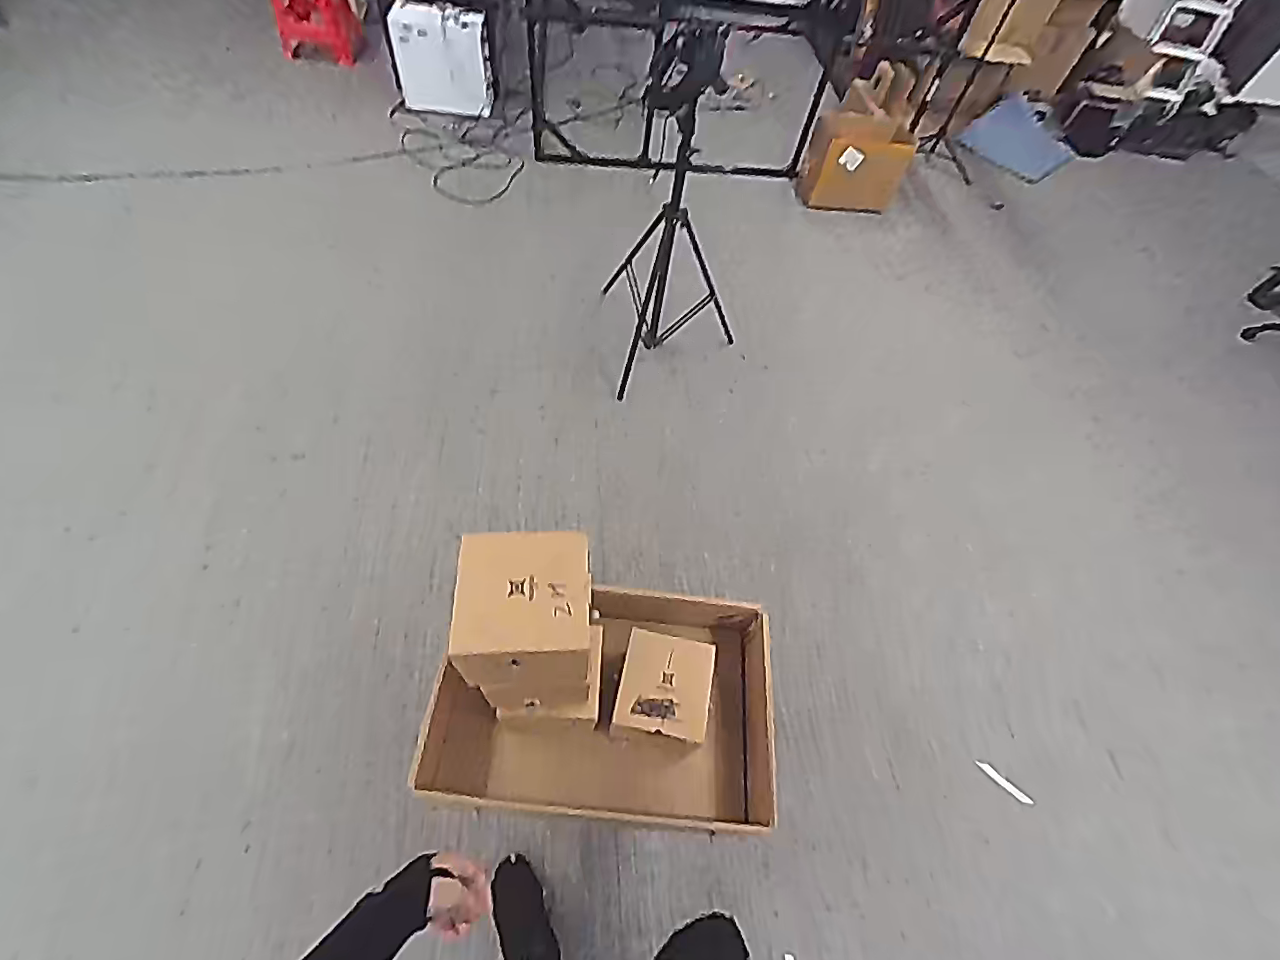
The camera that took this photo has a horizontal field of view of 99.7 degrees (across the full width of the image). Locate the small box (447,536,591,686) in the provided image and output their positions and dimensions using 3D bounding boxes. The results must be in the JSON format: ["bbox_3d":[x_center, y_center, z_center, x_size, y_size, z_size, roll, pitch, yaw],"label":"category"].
[{"bbox_3d":[-0.159,0.190,0.771,0.179,0.176,0.168,0,57,-7],"label":"small box"}]

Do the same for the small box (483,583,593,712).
[{"bbox_3d":[-0.165,0.278,0.909,0.168,0.176,0.179,0,57,-7],"label":"small box"}]
